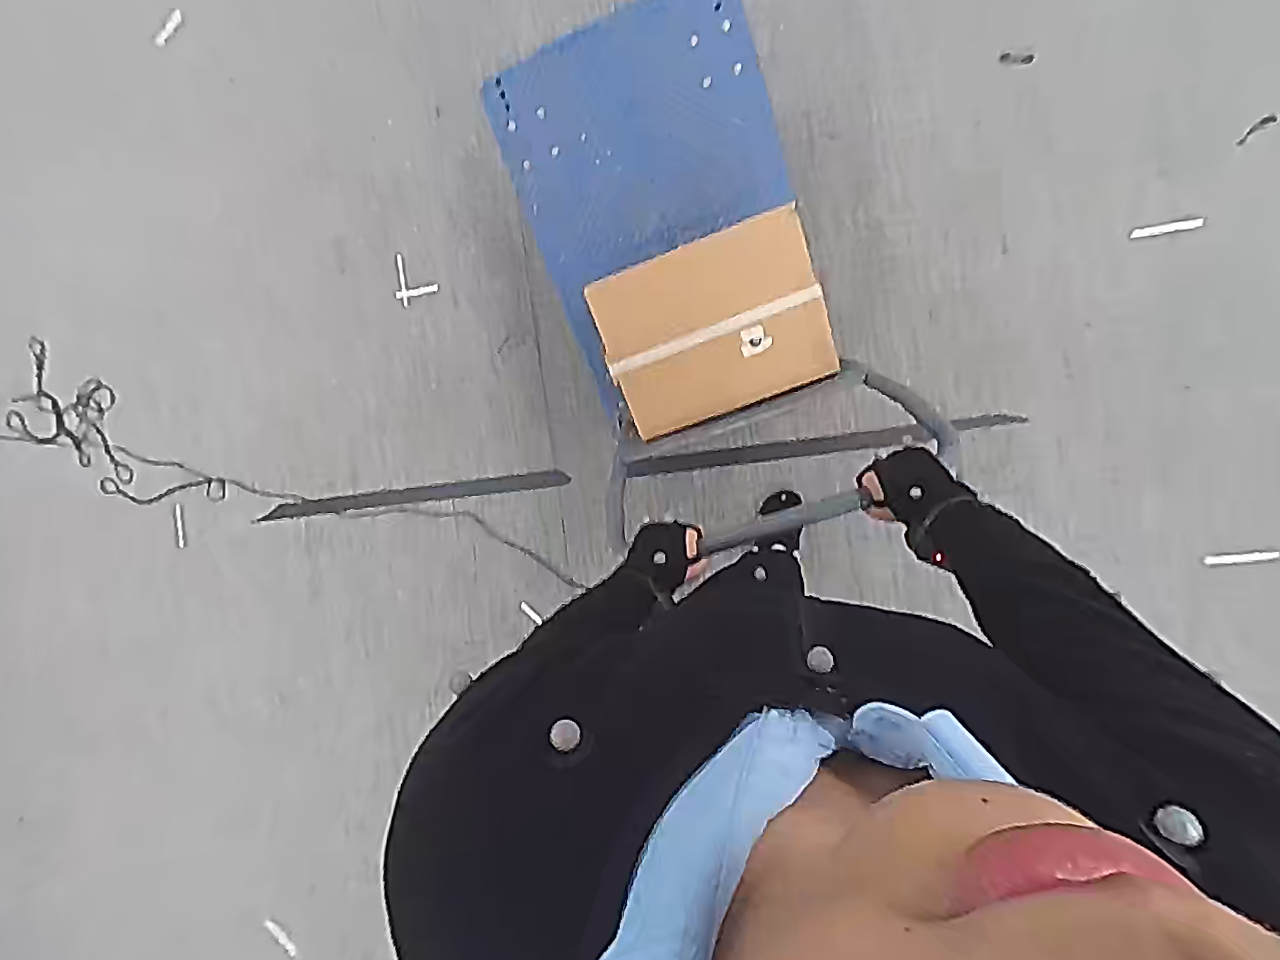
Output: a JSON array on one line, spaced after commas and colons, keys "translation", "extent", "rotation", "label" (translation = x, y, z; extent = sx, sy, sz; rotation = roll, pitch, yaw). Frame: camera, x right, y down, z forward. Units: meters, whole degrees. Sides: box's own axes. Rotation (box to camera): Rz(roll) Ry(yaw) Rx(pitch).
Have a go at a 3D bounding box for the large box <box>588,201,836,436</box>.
[{"translation": [0.143, -0.333, 1.166], "extent": [0.408, 0.320, 0.320], "rotation": [-20, 106, 8], "label": "large box"}]
